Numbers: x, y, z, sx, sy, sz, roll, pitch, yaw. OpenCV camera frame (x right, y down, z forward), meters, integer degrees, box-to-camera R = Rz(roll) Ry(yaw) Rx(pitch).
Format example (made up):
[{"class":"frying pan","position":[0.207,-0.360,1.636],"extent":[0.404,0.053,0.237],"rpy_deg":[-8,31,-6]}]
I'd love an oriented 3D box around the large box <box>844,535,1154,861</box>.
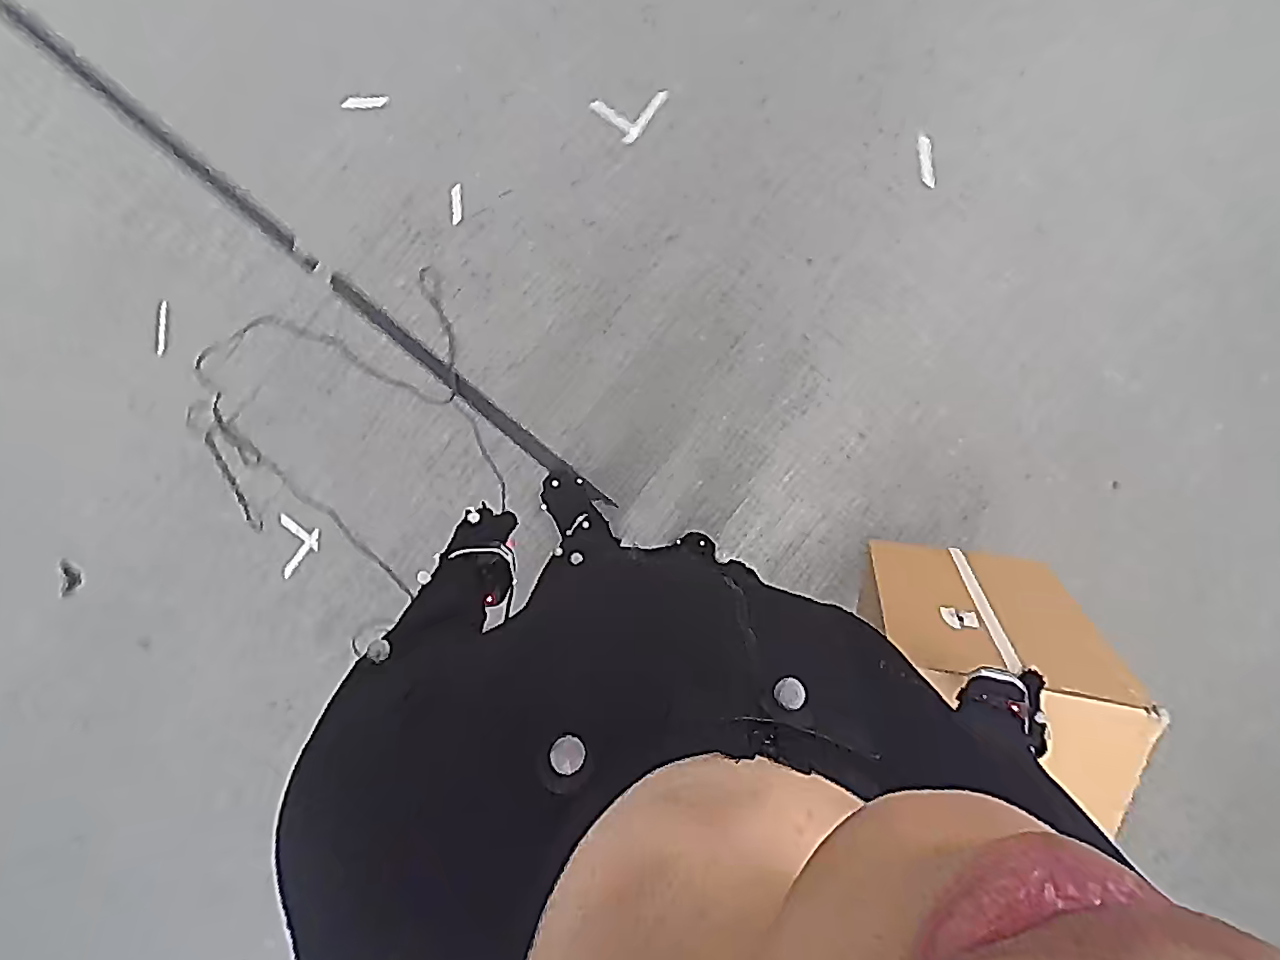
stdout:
[{"class":"large box","position":[0.553,0.336,0.947],"extent":[0.320,0.408,0.320],"rpy_deg":[5,112,15]}]
